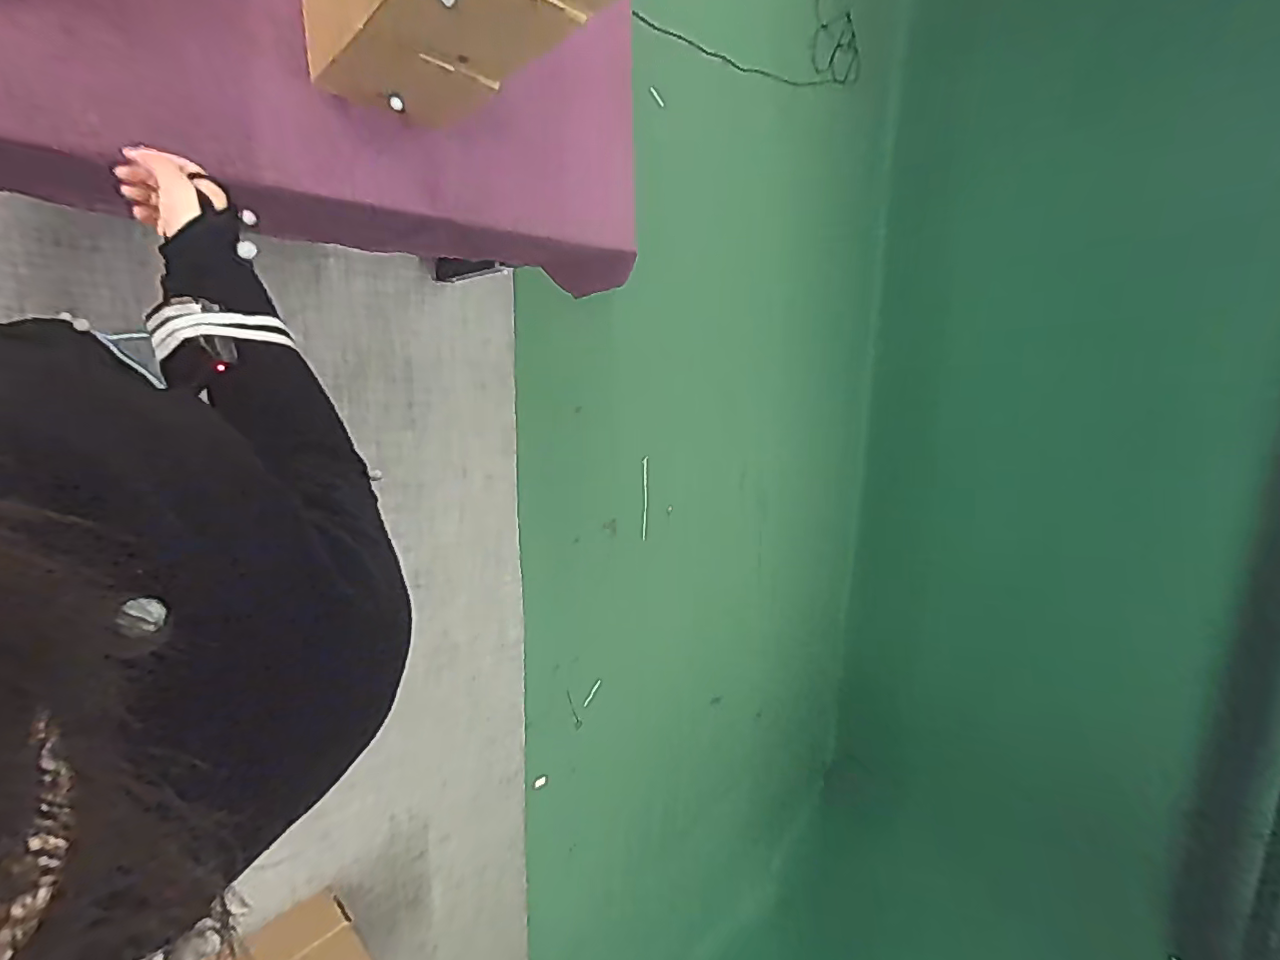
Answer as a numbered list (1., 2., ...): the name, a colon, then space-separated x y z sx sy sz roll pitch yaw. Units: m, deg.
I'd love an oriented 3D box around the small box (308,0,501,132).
1. small box: -0.289 -0.564 0.655 0.168 0.176 0.179 -12 107 -46
